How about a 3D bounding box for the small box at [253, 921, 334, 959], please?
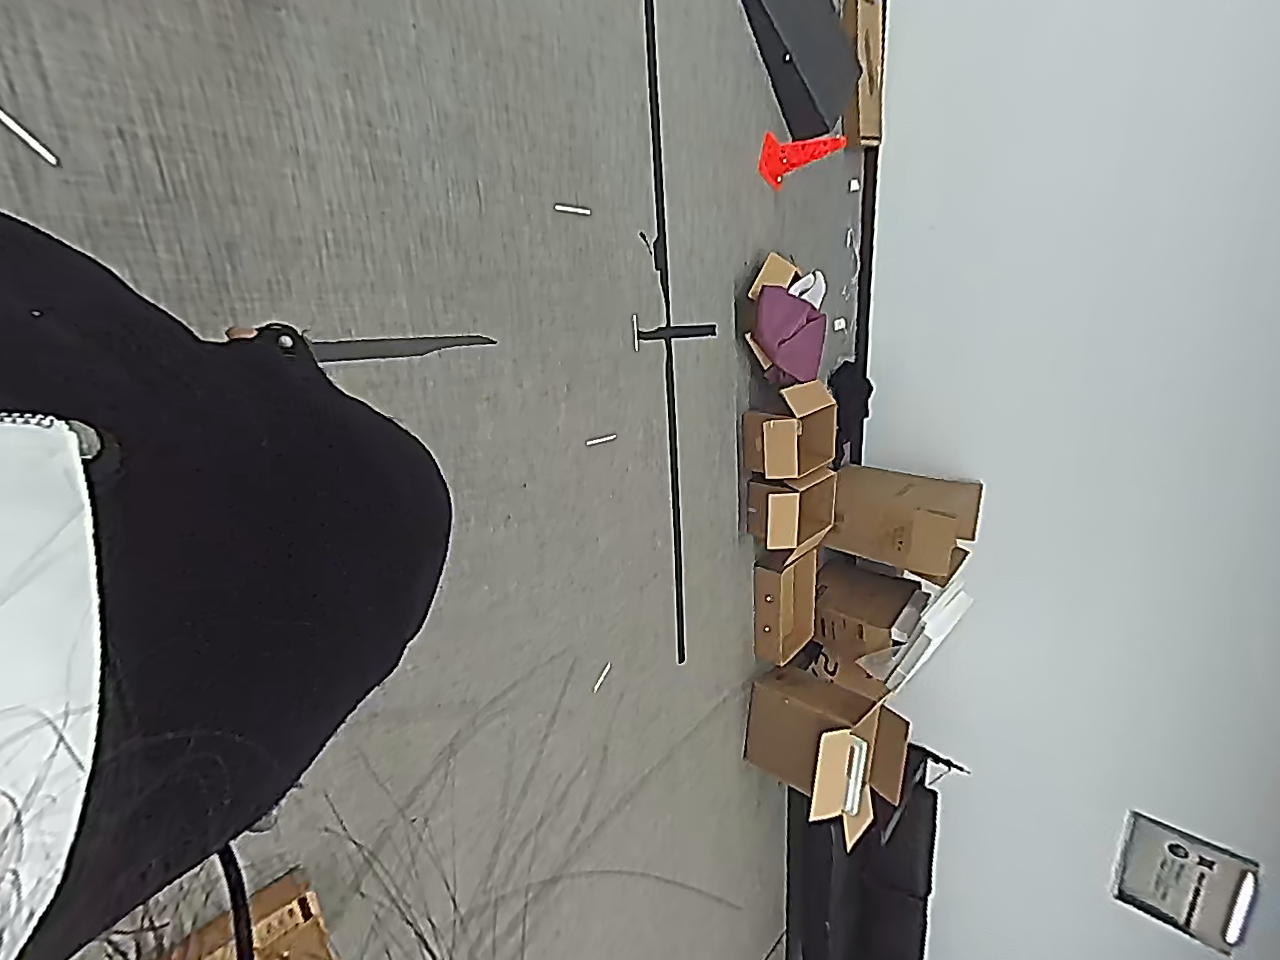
[{"bbox_3d":[-0.860,1.277,1.357,0.168,0.176,0.179,-20,114,-43],"label":"small box"}]
